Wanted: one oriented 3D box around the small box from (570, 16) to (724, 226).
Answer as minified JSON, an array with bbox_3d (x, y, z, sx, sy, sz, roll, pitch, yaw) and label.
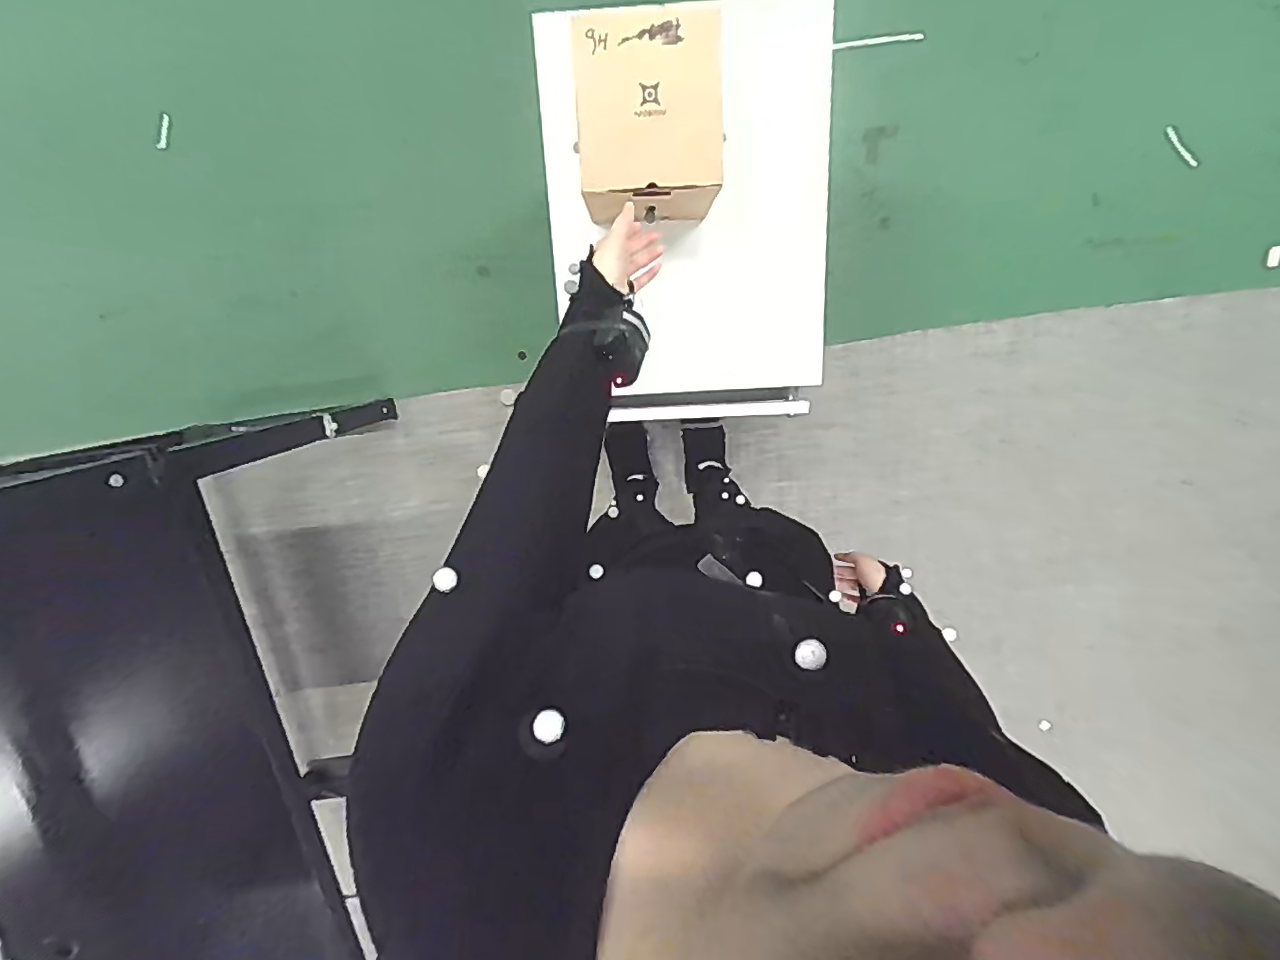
[{"bbox_3d":[0.011,-0.420,0.666,0.168,0.176,0.179,-3,105,1],"label":"small box"}]
